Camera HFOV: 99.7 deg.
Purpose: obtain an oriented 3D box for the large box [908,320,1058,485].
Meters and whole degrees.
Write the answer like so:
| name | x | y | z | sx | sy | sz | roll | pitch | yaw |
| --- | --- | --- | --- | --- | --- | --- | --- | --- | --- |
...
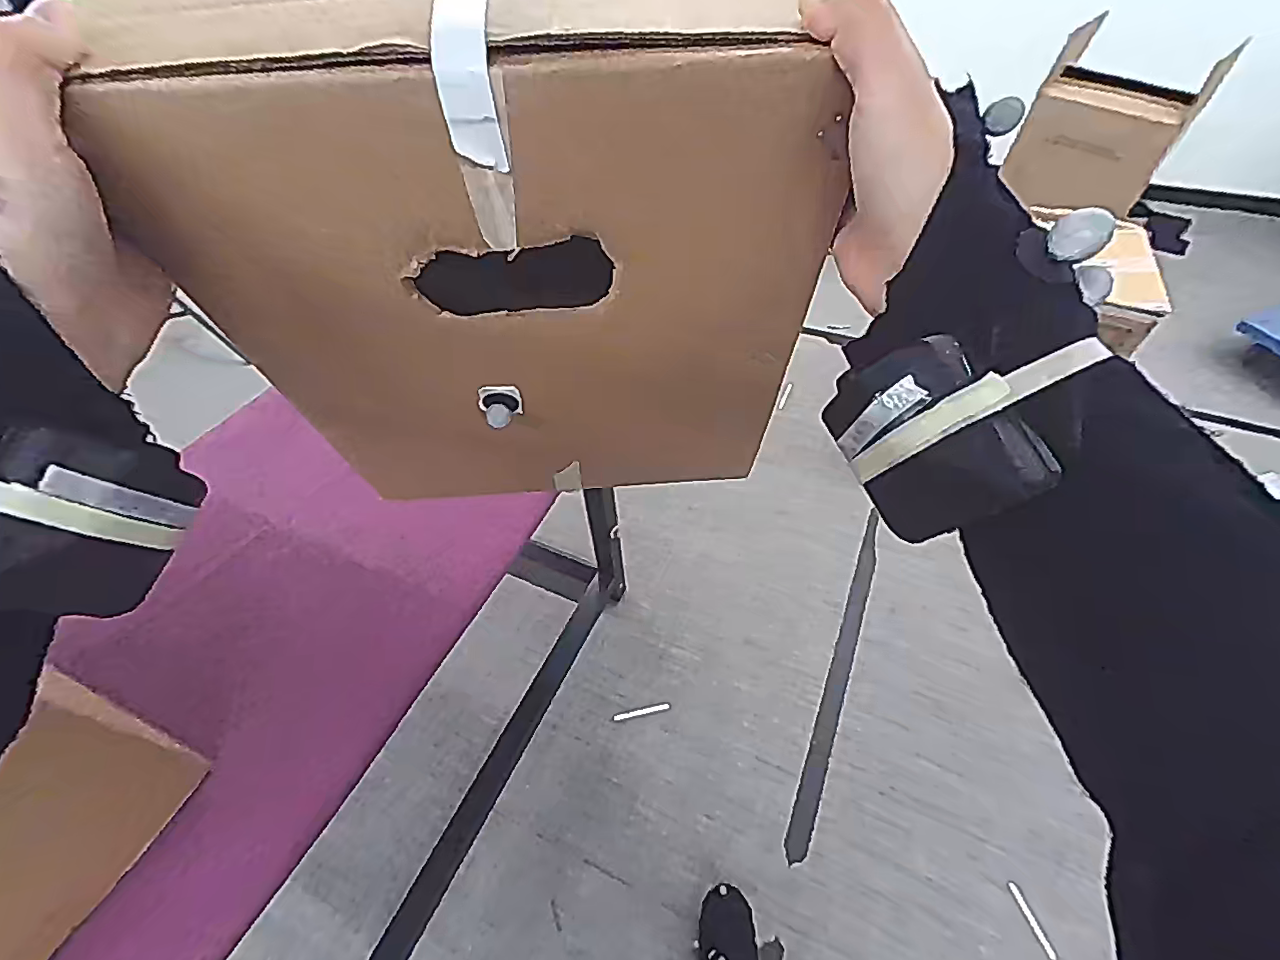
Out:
| name | x | y | z | sx | sy | sz | roll | pitch | yaw |
| --- | --- | --- | --- | --- | --- | --- | --- | --- | --- |
| large box | 1.116 | -0.260 | 1.788 | 0.320 | 0.320 | 0.408 | 17 | 53 | 16 |
